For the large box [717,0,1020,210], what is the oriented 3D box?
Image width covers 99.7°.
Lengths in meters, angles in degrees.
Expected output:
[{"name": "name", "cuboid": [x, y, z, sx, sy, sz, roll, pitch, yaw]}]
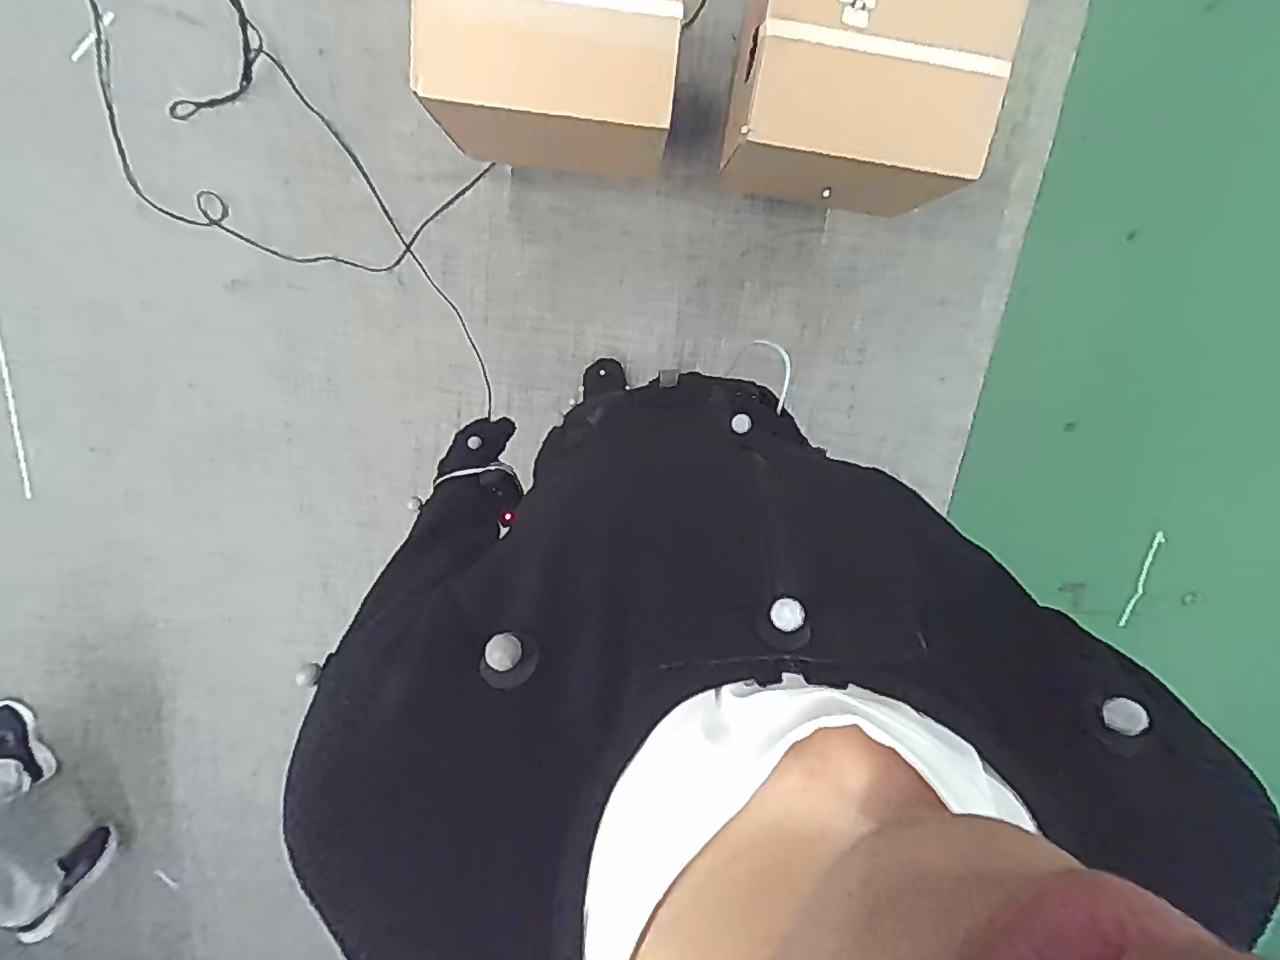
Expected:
[{"name": "large box", "cuboid": [0.387, -0.723, 1.011, 0.408, 0.320, 0.320, 8, 104, -3]}]
